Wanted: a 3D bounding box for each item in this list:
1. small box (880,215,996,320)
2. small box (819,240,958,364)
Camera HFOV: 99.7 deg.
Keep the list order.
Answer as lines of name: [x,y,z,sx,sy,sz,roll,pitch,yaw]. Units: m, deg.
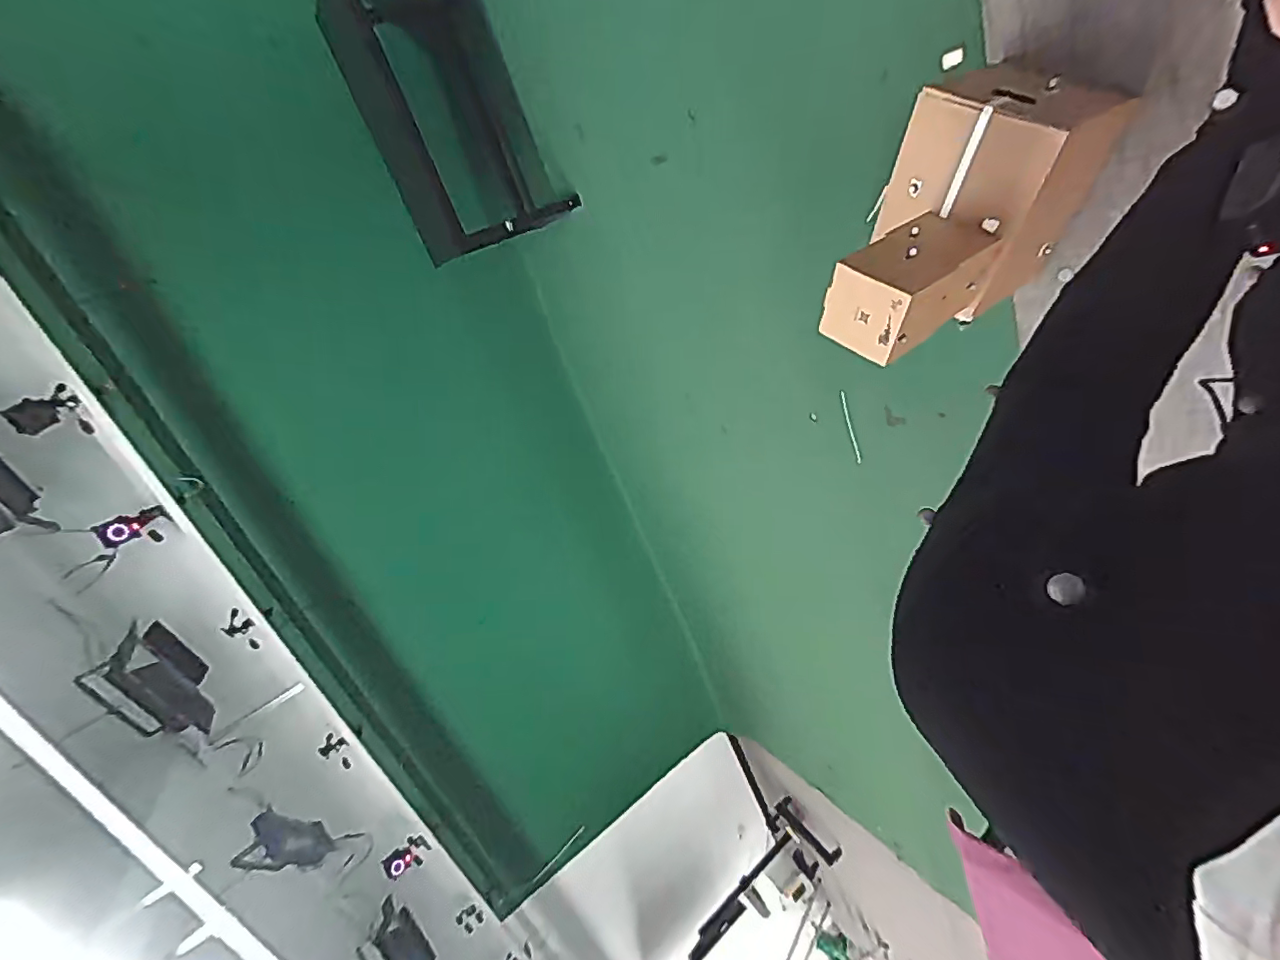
small box: [0.636,-0.466,1.204,0.179,0.176,0.168,43,153,30]
small box: [0.515,-0.379,1.134,0.179,0.176,0.168,43,153,31]
